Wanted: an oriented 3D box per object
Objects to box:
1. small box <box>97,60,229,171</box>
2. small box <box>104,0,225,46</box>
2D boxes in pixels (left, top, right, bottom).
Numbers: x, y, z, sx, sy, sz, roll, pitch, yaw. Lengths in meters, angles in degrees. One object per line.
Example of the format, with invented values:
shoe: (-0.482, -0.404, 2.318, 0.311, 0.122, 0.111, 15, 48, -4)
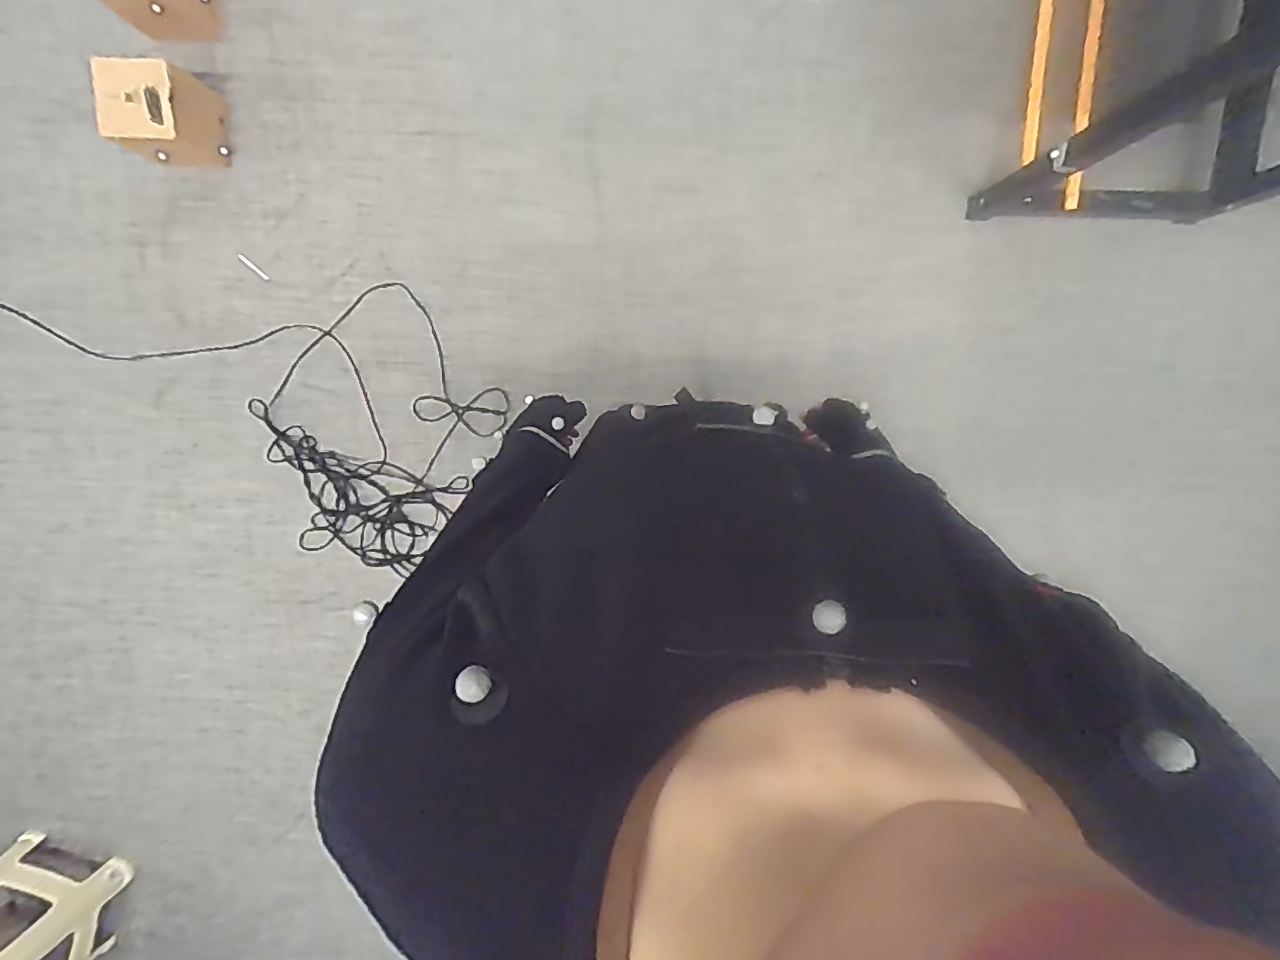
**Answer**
small box: (-1.120, -0.858, 1.288, 0.179, 0.176, 0.168, 2, 98, 1)
small box: (-1.110, -1.146, 1.248, 0.179, 0.176, 0.168, 3, 98, 0)
